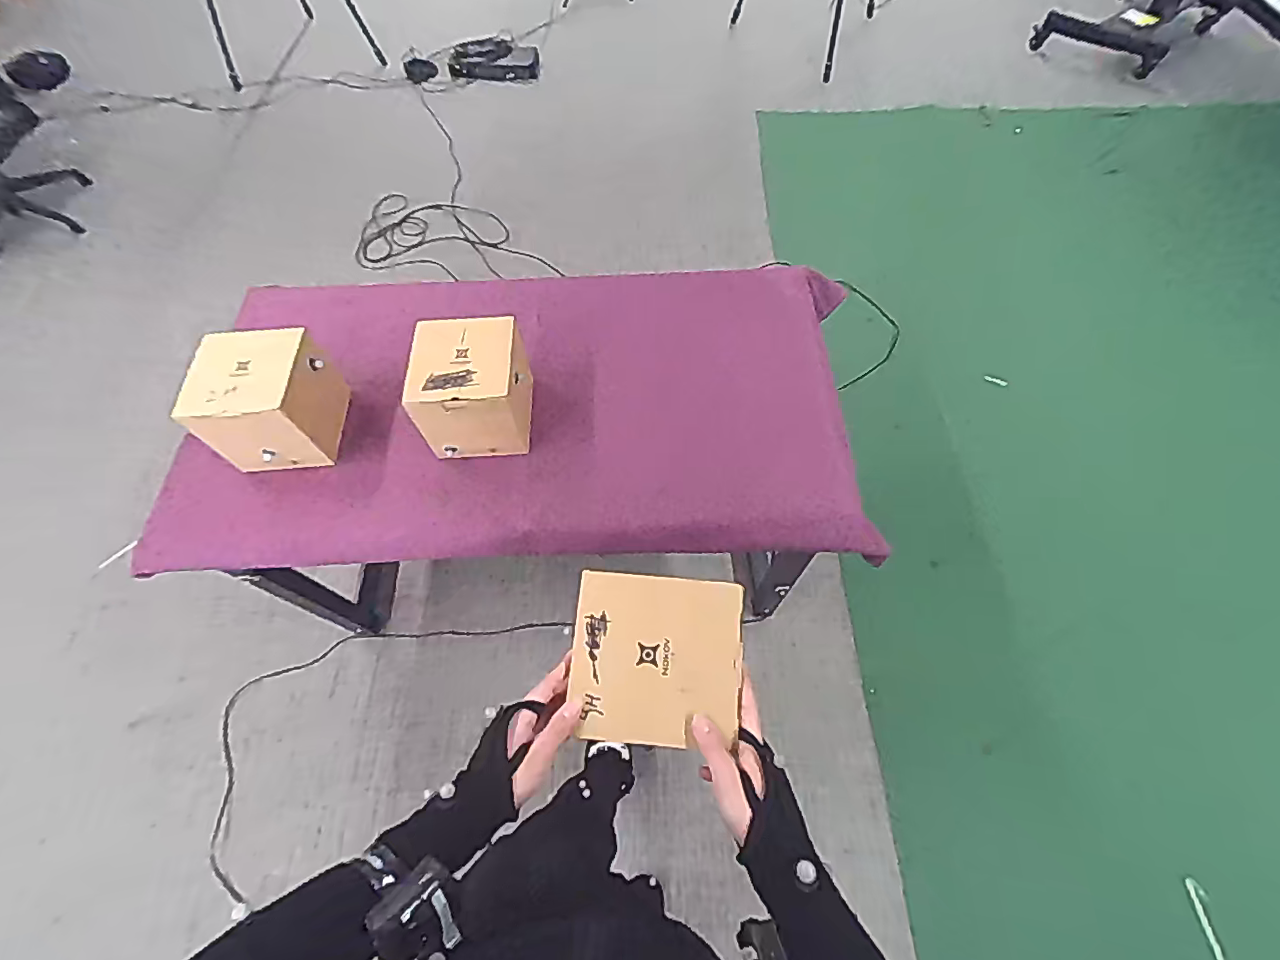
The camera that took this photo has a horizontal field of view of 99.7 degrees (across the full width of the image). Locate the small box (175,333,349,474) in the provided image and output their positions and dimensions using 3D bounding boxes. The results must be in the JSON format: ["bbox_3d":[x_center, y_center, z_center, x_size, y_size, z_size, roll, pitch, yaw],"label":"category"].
[{"bbox_3d":[-0.635,-0.129,0.938,0.168,0.176,0.179,-4,61,-1],"label":"small box"}]

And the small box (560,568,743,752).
[{"bbox_3d":[0.015,0.207,0.628,0.179,0.176,0.168,5,69,2],"label":"small box"}]

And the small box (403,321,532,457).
[{"bbox_3d":[-0.288,-0.150,0.944,0.168,0.176,0.179,-3,60,-1],"label":"small box"}]
